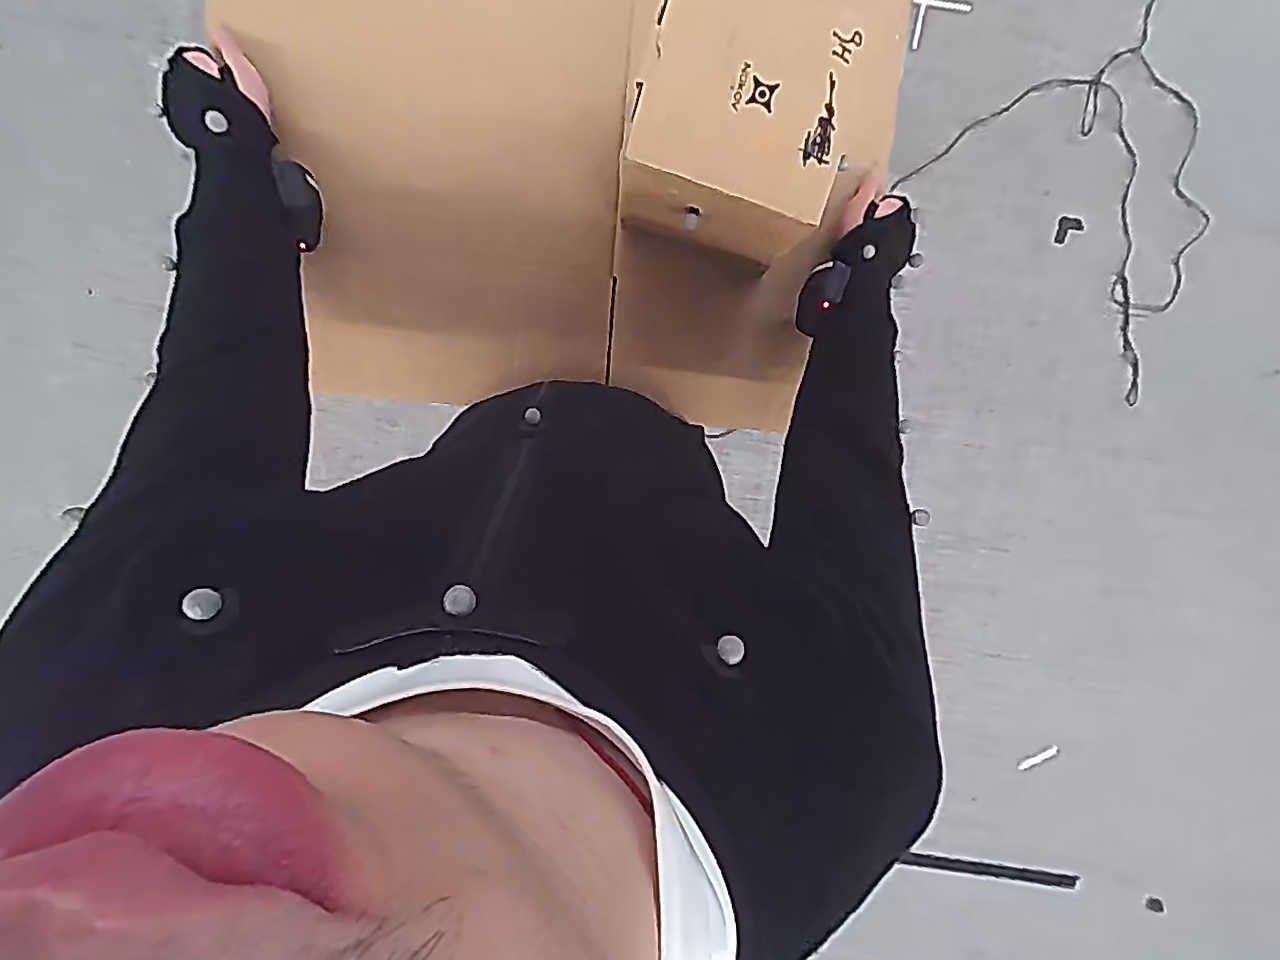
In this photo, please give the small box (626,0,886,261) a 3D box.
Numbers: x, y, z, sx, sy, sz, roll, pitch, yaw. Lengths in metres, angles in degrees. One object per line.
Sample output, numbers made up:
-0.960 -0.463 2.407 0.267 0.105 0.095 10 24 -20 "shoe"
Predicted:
0.093 -0.333 0.522 0.179 0.176 0.168 17 98 -4 "small box"
